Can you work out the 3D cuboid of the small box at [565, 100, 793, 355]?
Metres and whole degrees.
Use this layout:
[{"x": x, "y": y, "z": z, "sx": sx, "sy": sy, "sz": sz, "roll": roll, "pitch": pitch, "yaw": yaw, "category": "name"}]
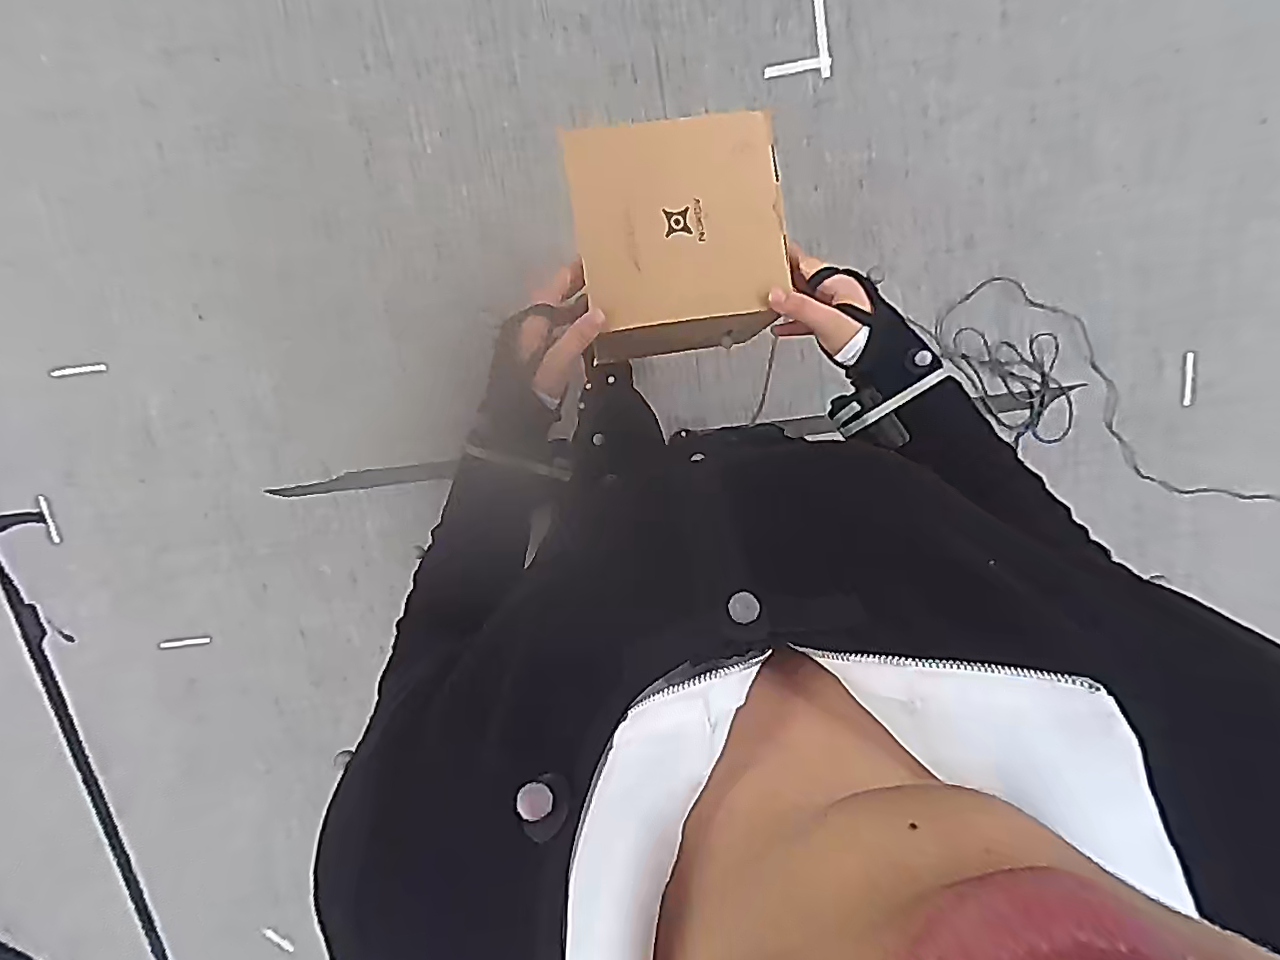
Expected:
[{"x": 0.030, "y": -0.229, "z": 0.534, "sx": 0.179, "sy": 0.176, "sz": 0.168, "roll": -10, "pitch": 93, "yaw": -2, "category": "small box"}]
